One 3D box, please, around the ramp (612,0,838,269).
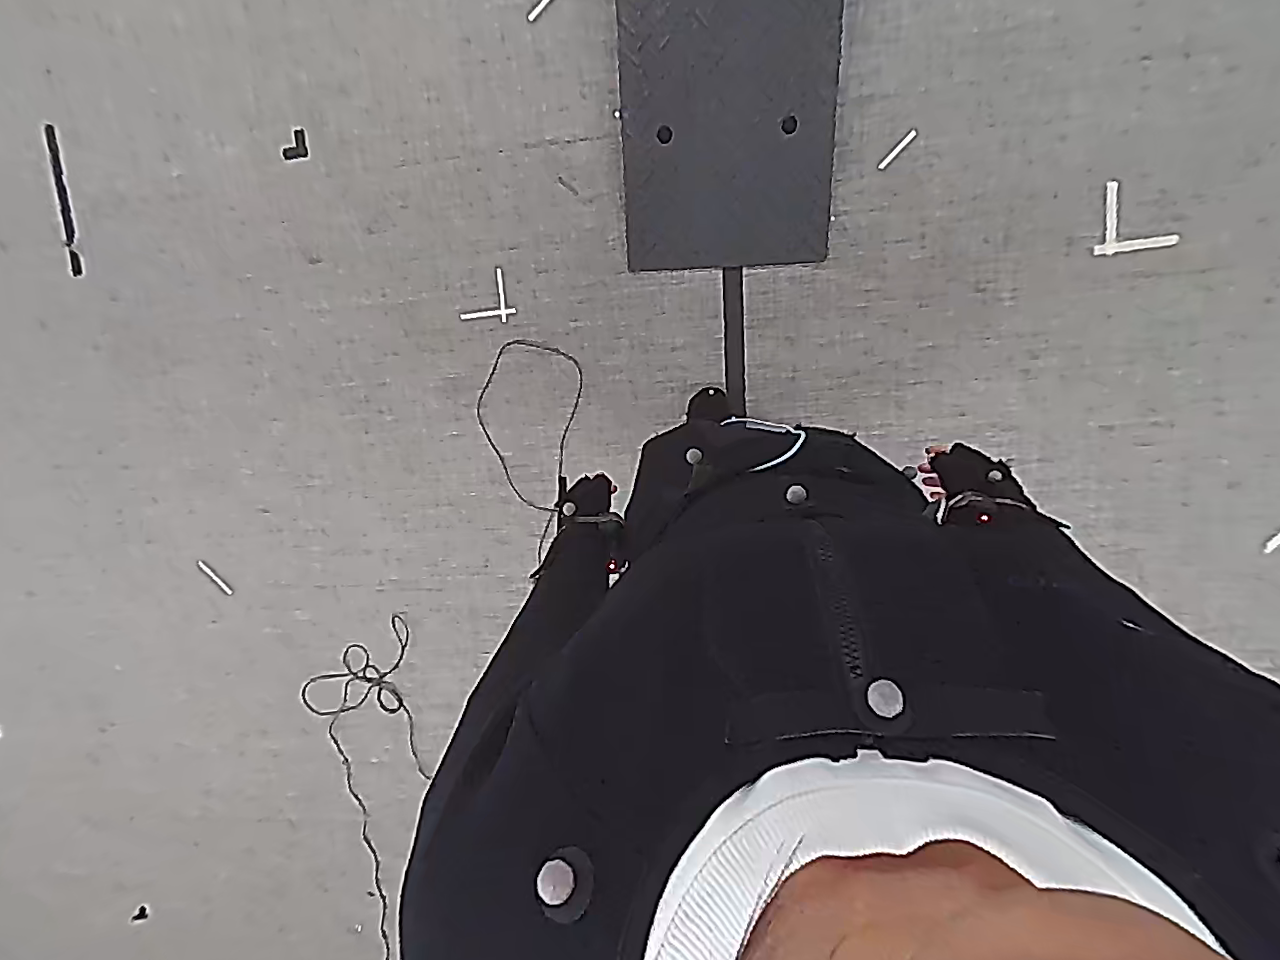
[{"bbox_3d":[0.183,-1.008,1.180,0.509,0.206,0.991,-2,100,6],"label":"ramp"}]
